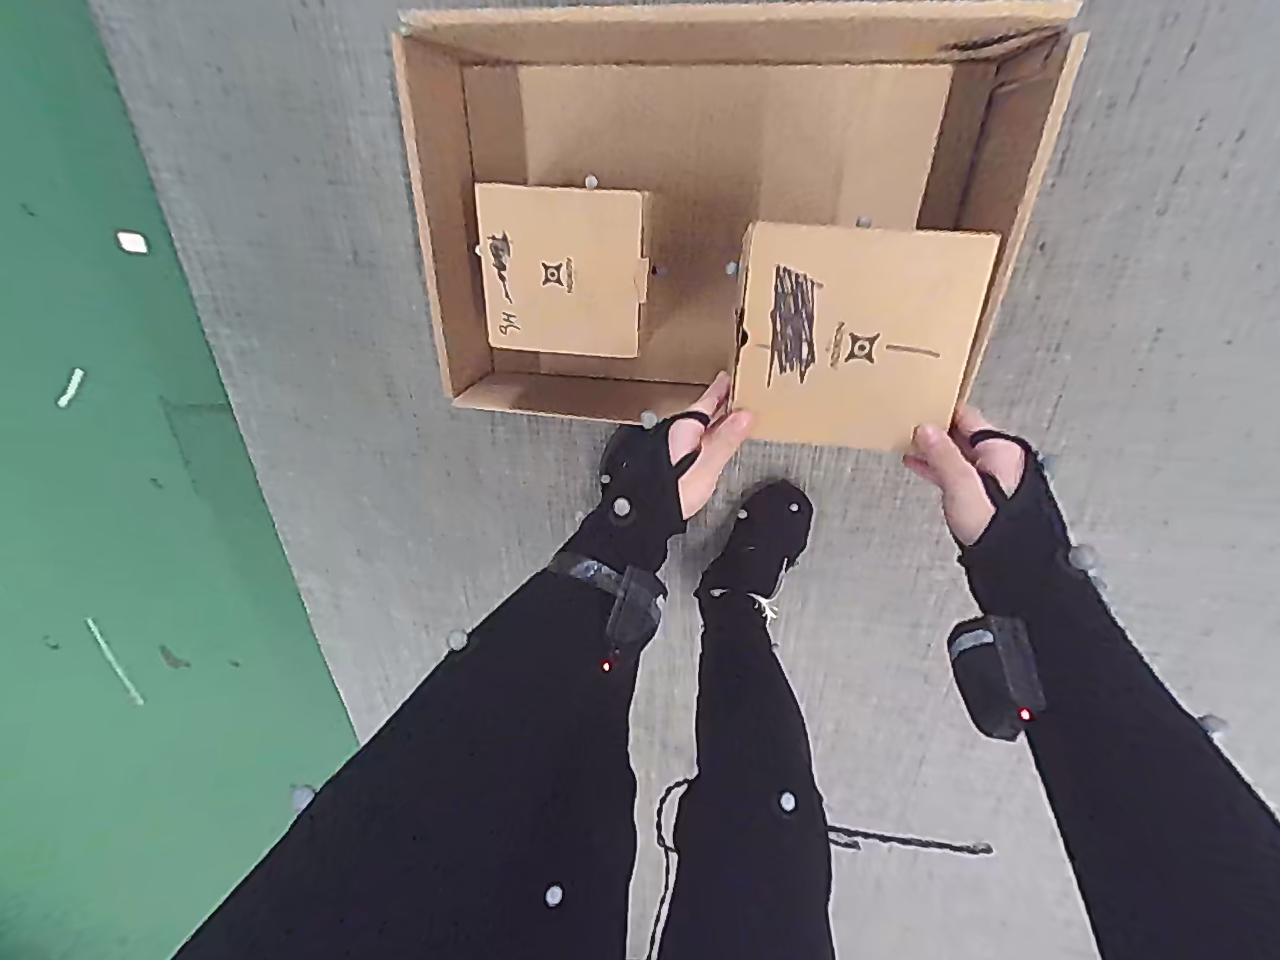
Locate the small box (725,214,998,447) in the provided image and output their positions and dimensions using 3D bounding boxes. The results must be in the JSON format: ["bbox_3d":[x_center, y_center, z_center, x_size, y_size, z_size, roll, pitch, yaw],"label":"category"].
[{"bbox_3d":[0.173,-0.138,0.491,0.179,0.176,0.168,5,112,6],"label":"small box"}]
